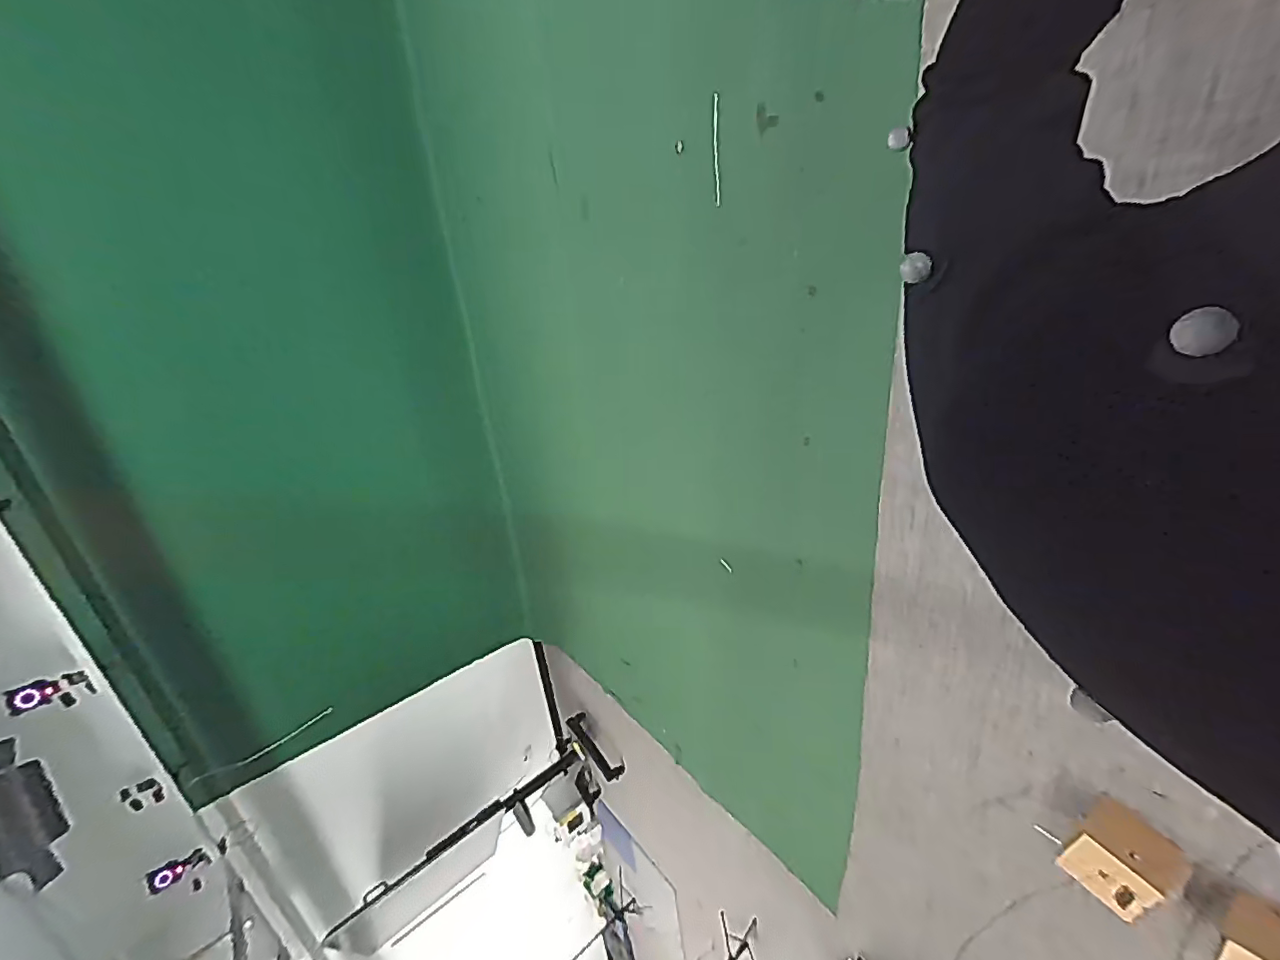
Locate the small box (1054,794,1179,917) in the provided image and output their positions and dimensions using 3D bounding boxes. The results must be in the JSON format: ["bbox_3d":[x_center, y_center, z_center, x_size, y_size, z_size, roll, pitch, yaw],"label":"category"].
[{"bbox_3d":[1.248,0.976,1.417,0.179,0.176,0.168,38,137,39],"label":"small box"}]
